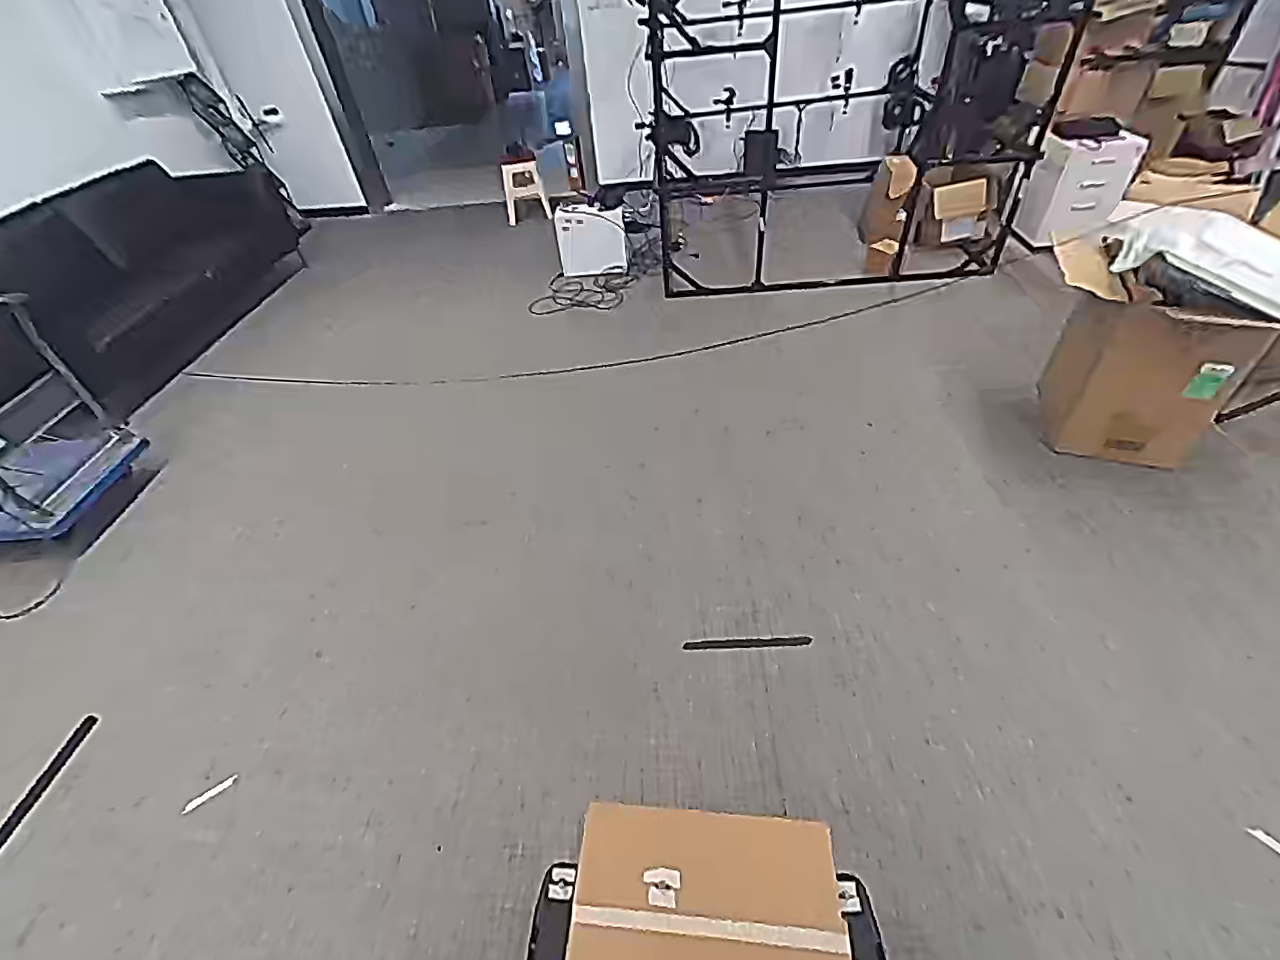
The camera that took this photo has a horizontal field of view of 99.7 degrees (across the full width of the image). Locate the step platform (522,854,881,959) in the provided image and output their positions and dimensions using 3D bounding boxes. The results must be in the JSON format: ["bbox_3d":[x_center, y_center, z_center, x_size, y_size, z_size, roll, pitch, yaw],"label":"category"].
[{"bbox_3d":[0.113,0.947,1.047,0.684,0.204,0.286,1,43,10],"label":"step platform"}]

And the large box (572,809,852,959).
[{"bbox_3d":[0.118,0.770,0.886,0.408,0.320,0.320,0,42,9],"label":"large box"}]
